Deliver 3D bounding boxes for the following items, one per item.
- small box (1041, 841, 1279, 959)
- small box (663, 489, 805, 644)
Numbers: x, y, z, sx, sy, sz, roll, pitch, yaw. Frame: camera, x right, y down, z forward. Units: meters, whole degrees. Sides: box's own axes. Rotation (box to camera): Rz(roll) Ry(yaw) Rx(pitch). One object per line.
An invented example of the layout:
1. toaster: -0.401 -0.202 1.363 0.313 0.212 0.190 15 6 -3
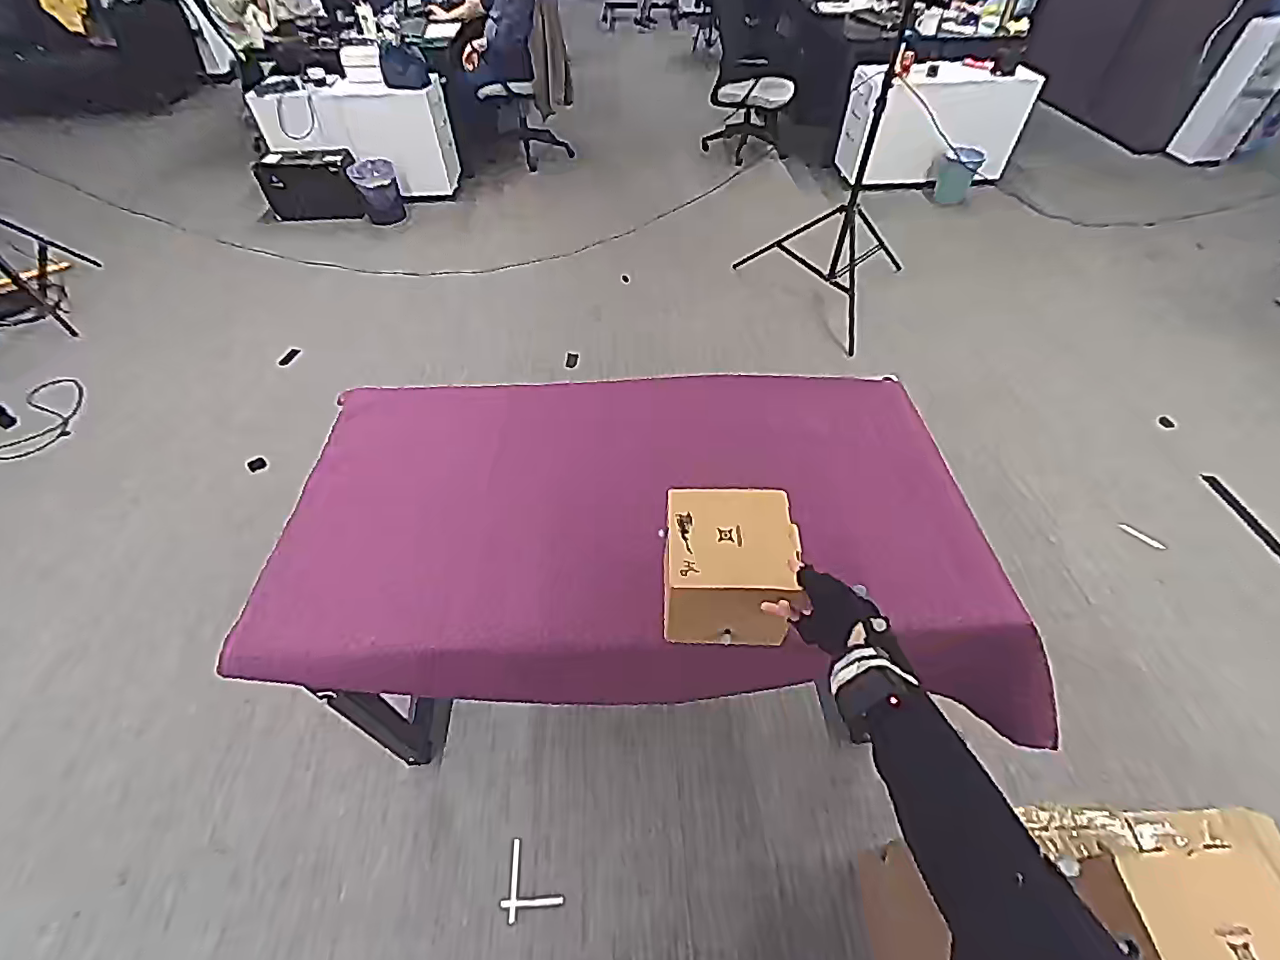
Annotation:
1. small box: 0.603 0.519 0.601 0.168 0.176 0.179 -3 51 0
2. small box: 0.127 0.131 0.805 0.179 0.176 0.168 2 48 1
